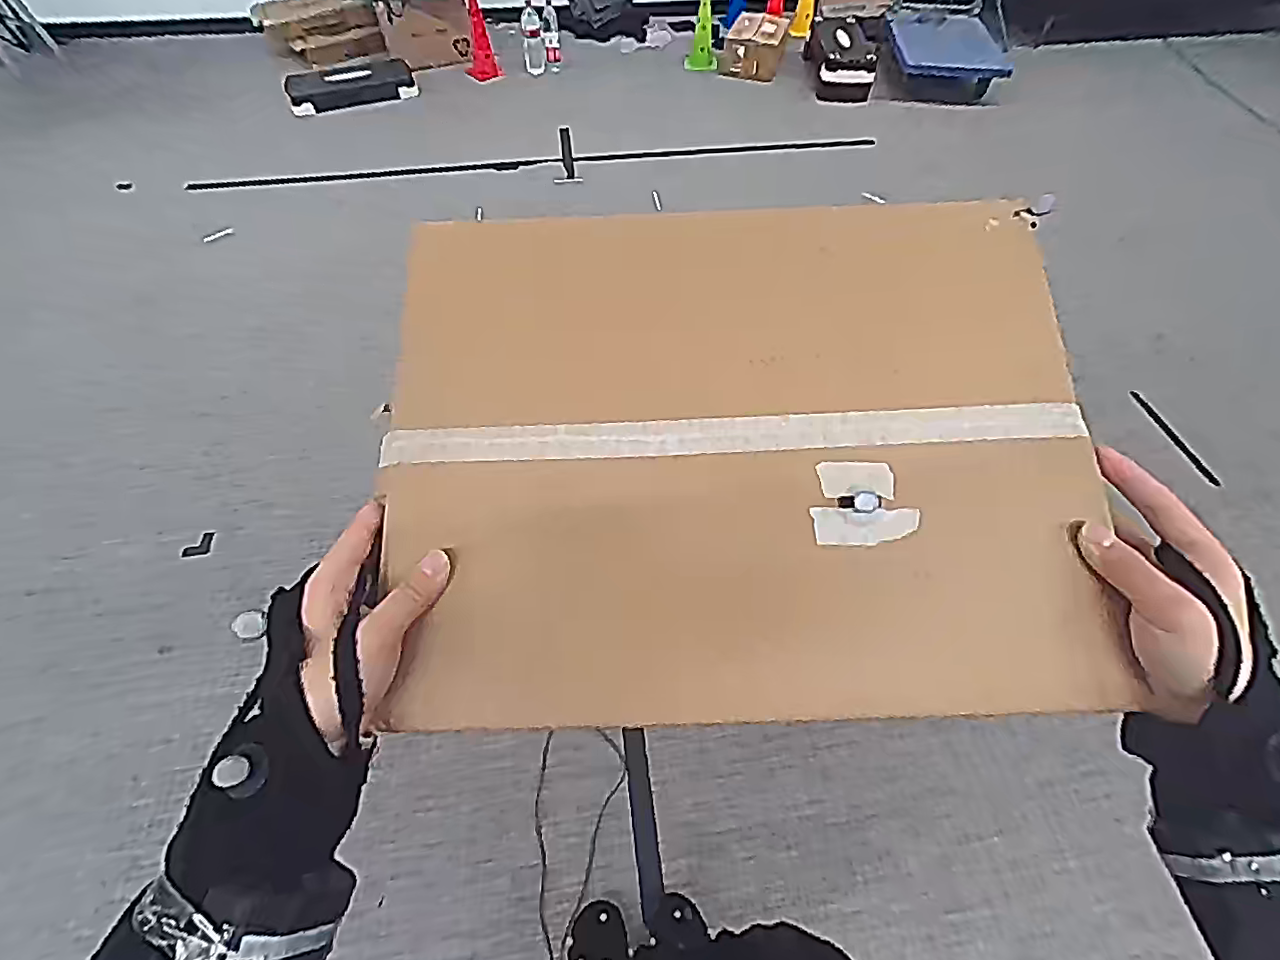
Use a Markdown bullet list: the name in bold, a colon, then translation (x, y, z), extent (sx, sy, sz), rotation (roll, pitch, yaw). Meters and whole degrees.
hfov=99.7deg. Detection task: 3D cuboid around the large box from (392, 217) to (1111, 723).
- **large box**: translation (0.055, 0.014, 0.476), extent (0.408, 0.320, 0.320), rotation (-2, 76, 0)
